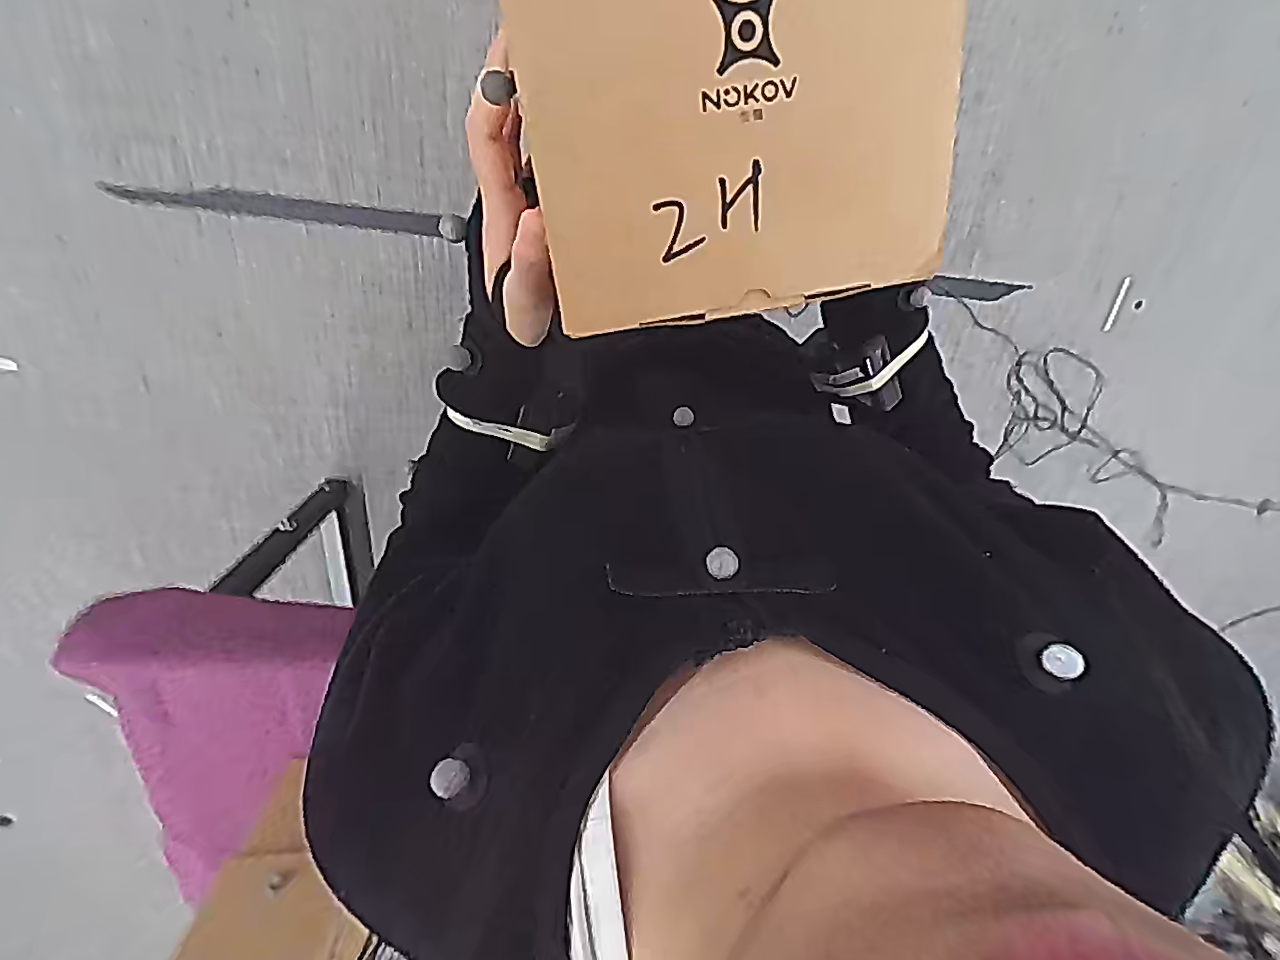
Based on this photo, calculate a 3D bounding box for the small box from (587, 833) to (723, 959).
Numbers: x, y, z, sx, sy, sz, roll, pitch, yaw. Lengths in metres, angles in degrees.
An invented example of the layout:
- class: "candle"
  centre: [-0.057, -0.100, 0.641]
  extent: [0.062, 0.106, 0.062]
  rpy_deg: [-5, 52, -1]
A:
- class: "small box"
  centre: [0.011, 0.639, 0.768]
  extent: [0.168, 0.176, 0.179]
  rpy_deg: [2, 112, -7]

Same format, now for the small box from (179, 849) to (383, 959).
- class: "small box"
  centre: [-0.469, 0.624, 0.713]
  extent: [0.179, 0.176, 0.168]
  rpy_deg: [-2, 114, -5]

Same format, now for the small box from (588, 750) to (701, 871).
- class: "small box"
  centre: [-0.002, 0.586, 0.921]
  extent: [0.168, 0.176, 0.179]
  rpy_deg: [3, 114, -6]

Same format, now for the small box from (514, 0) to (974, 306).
- class: "small box"
  centre: [0.029, -0.194, 0.262]
  extent: [0.168, 0.176, 0.179]
  rpy_deg: [-10, 116, -2]
